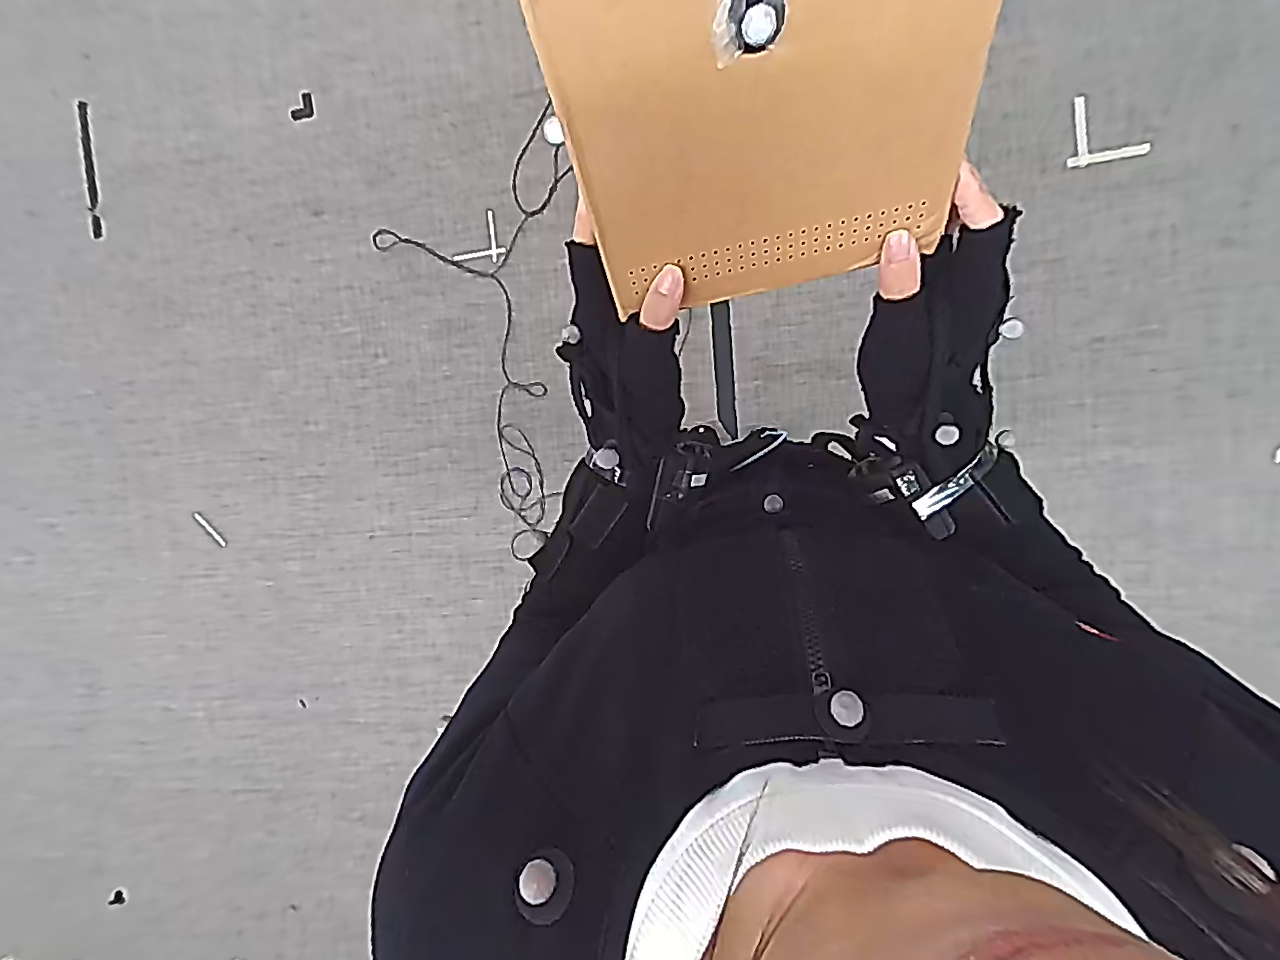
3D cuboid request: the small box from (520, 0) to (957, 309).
[{"bbox_3d":[0.052,-0.219,0.296,0.179,0.176,0.168,-10,55,9],"label":"small box"}]
